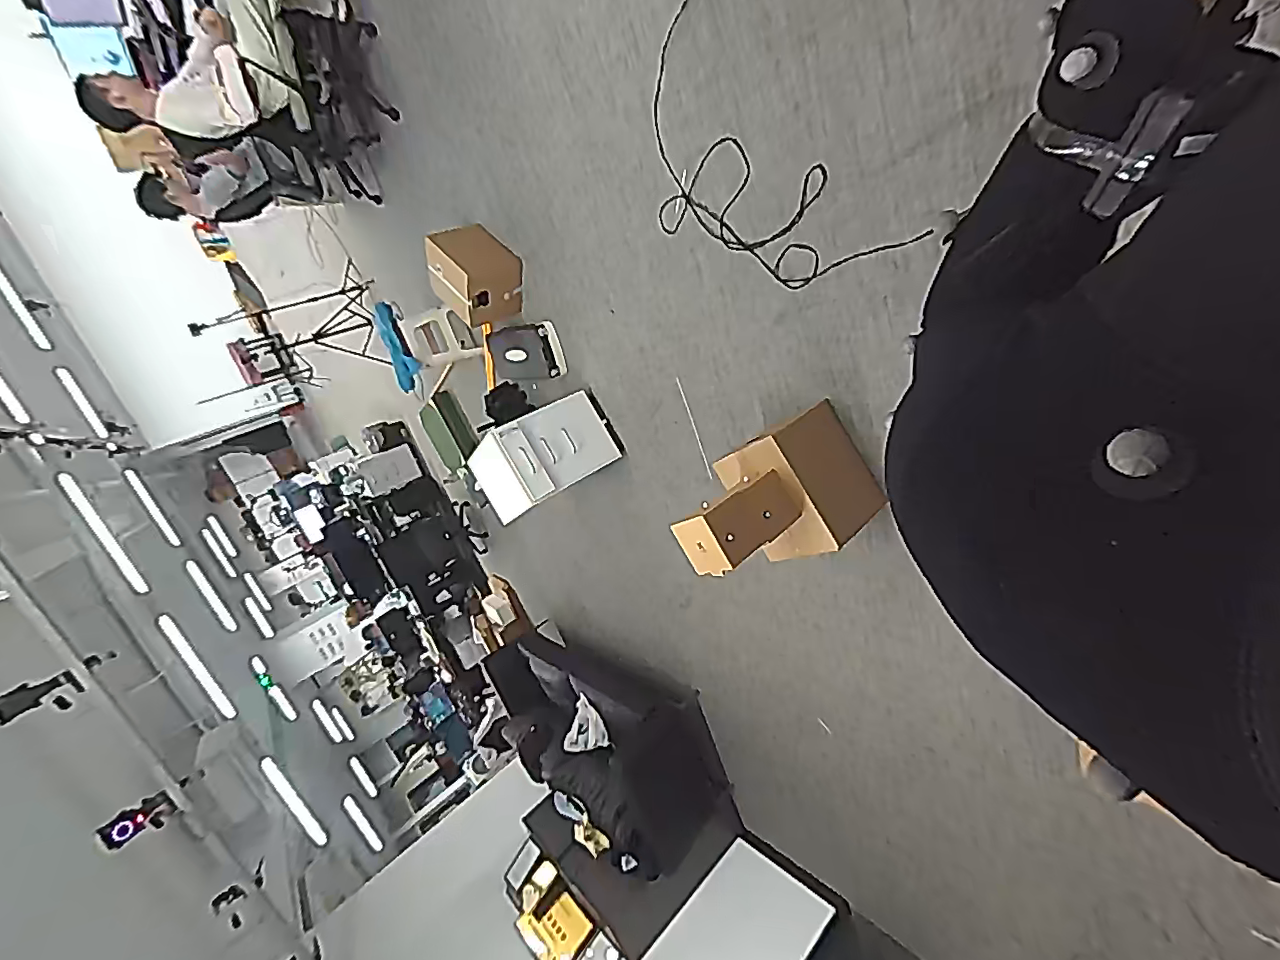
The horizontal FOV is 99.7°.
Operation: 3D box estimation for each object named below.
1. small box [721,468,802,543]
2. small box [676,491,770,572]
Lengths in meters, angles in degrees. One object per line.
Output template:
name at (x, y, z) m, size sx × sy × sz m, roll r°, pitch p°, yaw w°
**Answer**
small box at (0.369, 0.087, 1.681) m, size 0.179 × 0.176 × 0.168 m, roll 60°, pitch 147°, yaw -1°
small box at (0.245, 0.146, 1.593) m, size 0.179 × 0.176 × 0.168 m, roll 60°, pitch 147°, yaw -2°
